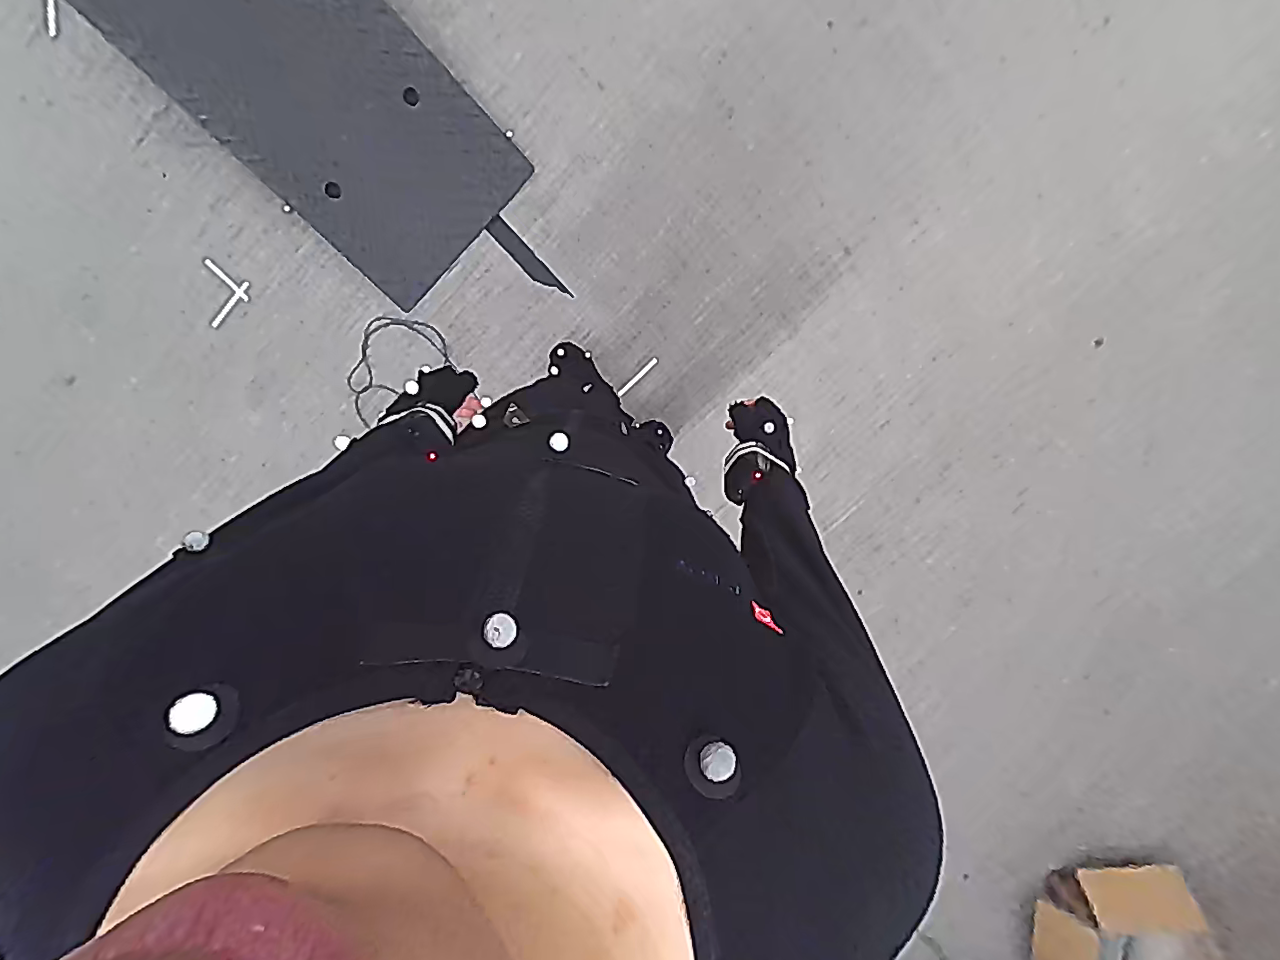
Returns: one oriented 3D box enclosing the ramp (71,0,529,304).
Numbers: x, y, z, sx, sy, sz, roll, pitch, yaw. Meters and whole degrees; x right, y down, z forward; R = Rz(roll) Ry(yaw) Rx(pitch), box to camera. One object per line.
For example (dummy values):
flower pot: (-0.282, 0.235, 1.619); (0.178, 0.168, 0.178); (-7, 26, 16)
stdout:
ramp: (-0.774, -0.940, 1.207); (0.991, 0.206, 0.509); (44, 98, -8)
